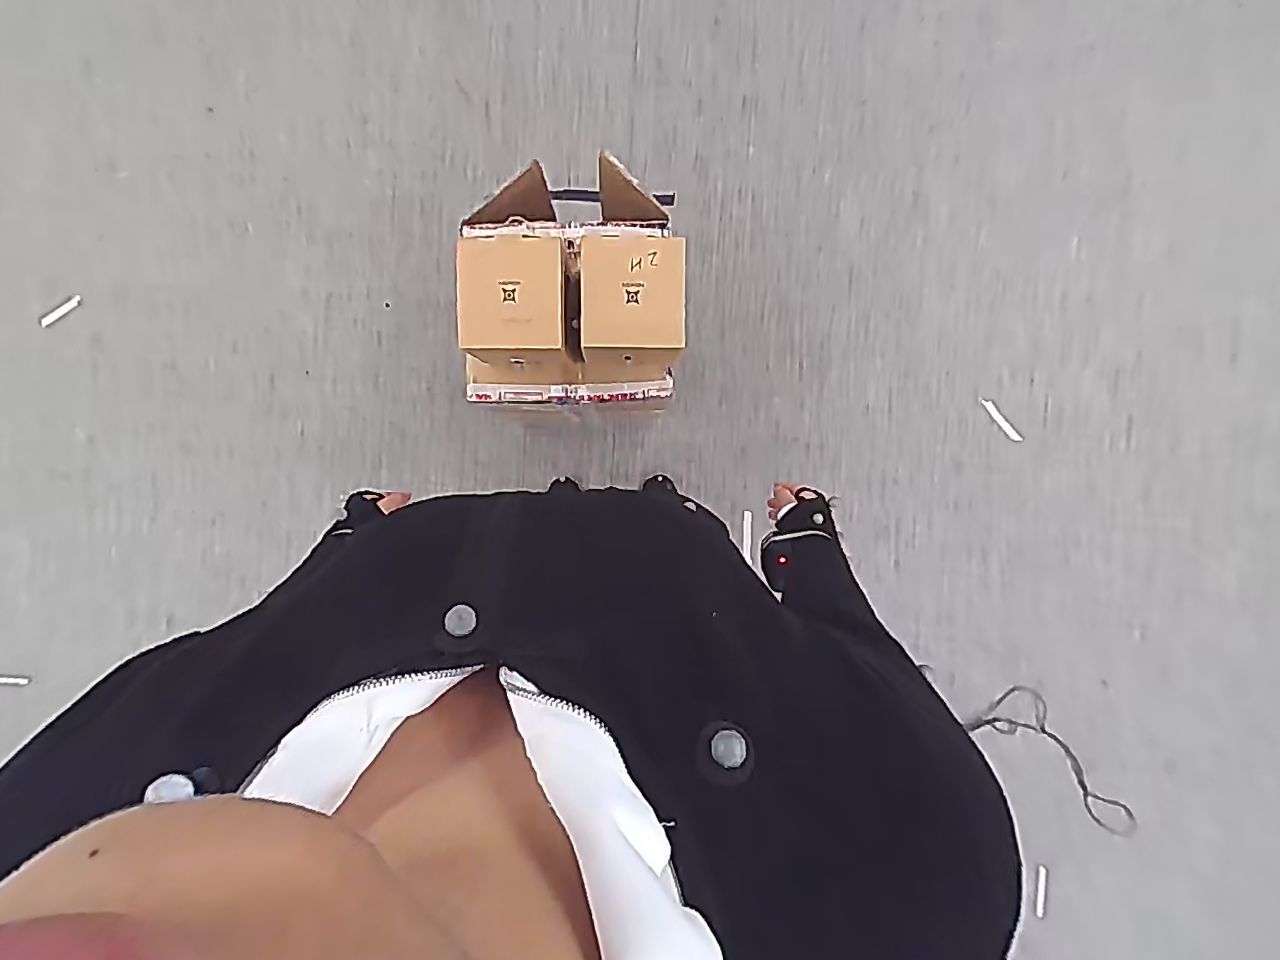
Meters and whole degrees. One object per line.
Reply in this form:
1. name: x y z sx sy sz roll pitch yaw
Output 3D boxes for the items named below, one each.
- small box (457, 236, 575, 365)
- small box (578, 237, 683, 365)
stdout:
1. small box: -0.205 -0.298 0.927 0.168 0.176 0.179 -1 94 0
2. small box: -0.017 -0.296 0.930 0.168 0.176 0.179 0 92 -3
